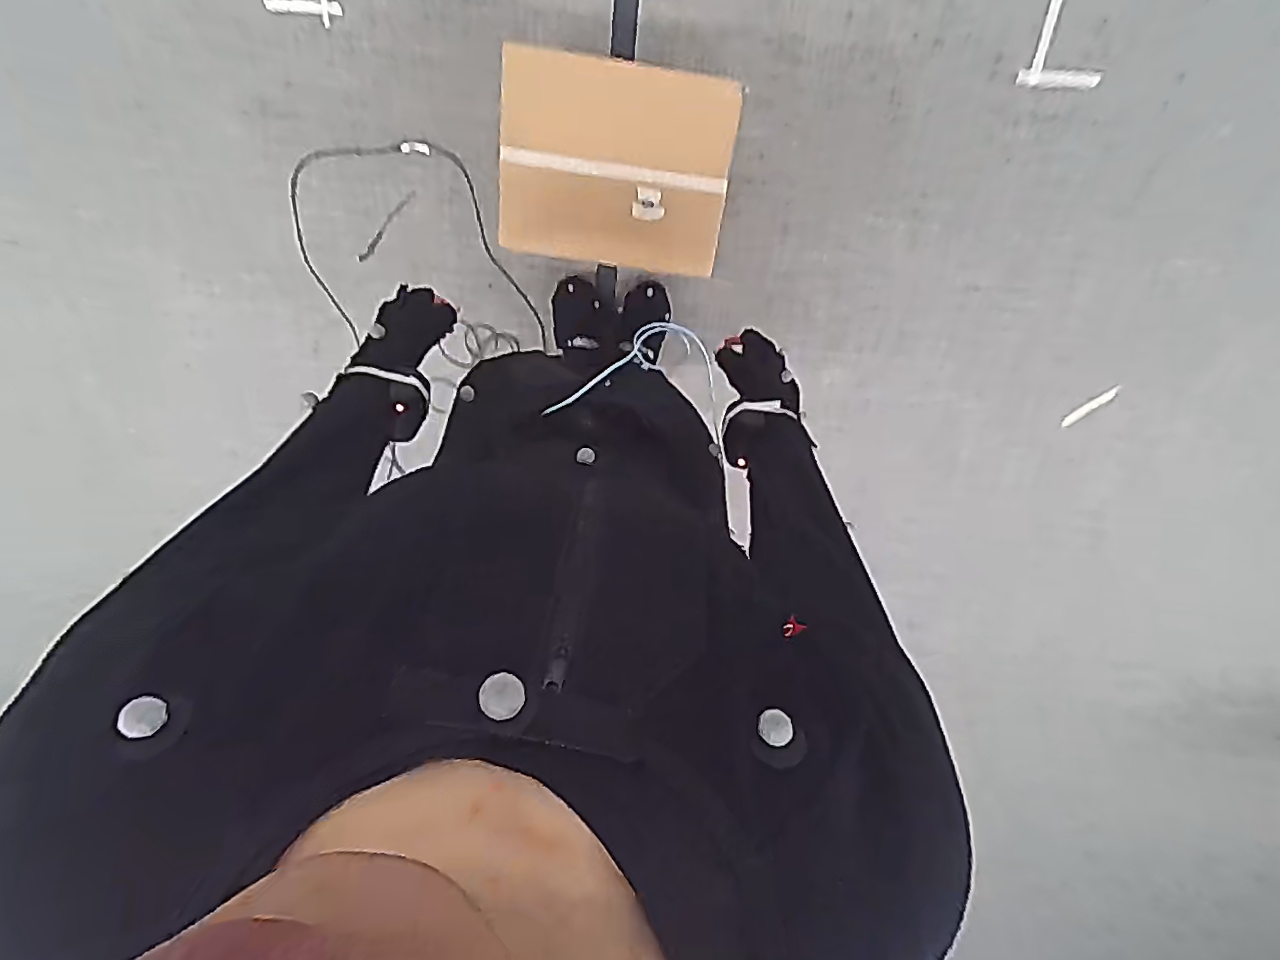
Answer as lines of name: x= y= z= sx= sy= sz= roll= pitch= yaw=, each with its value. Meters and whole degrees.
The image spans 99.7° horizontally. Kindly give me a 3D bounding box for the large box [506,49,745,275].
large box: x=-0.041 y=-0.615 z=1.097 sx=0.408 sy=0.320 sz=0.320 roll=7 pitch=116 yaw=-4
